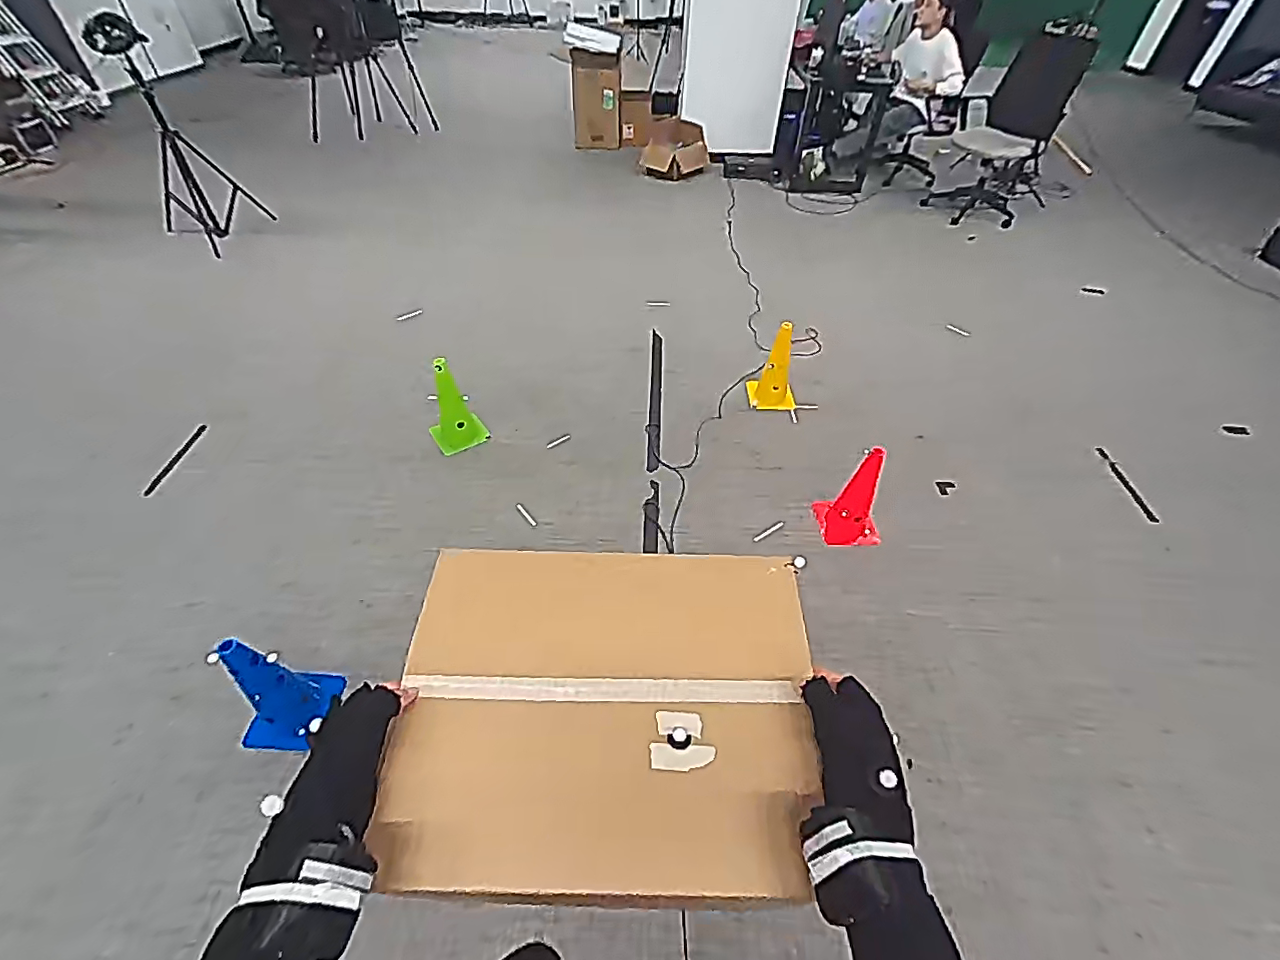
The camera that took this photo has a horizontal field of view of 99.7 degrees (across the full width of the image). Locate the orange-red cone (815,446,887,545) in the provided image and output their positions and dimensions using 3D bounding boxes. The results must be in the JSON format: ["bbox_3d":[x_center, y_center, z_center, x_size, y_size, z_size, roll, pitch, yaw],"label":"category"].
[{"bbox_3d":[0.741,0.028,1.804,0.198,0.360,0.199,1,45,-2],"label":"orange-red cone"}]

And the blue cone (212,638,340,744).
[{"bbox_3d":[-0.921,0.494,1.330,0.192,0.380,0.193,4,46,4],"label":"blue cone"}]

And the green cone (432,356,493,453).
[{"bbox_3d":[-0.729,-0.319,2.094,0.202,0.368,0.200,-28,52,-23],"label":"green cone"}]

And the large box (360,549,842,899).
[{"bbox_3d":[-0.035,0.298,0.647,0.408,0.320,0.320,2,51,0],"label":"large box"}]
